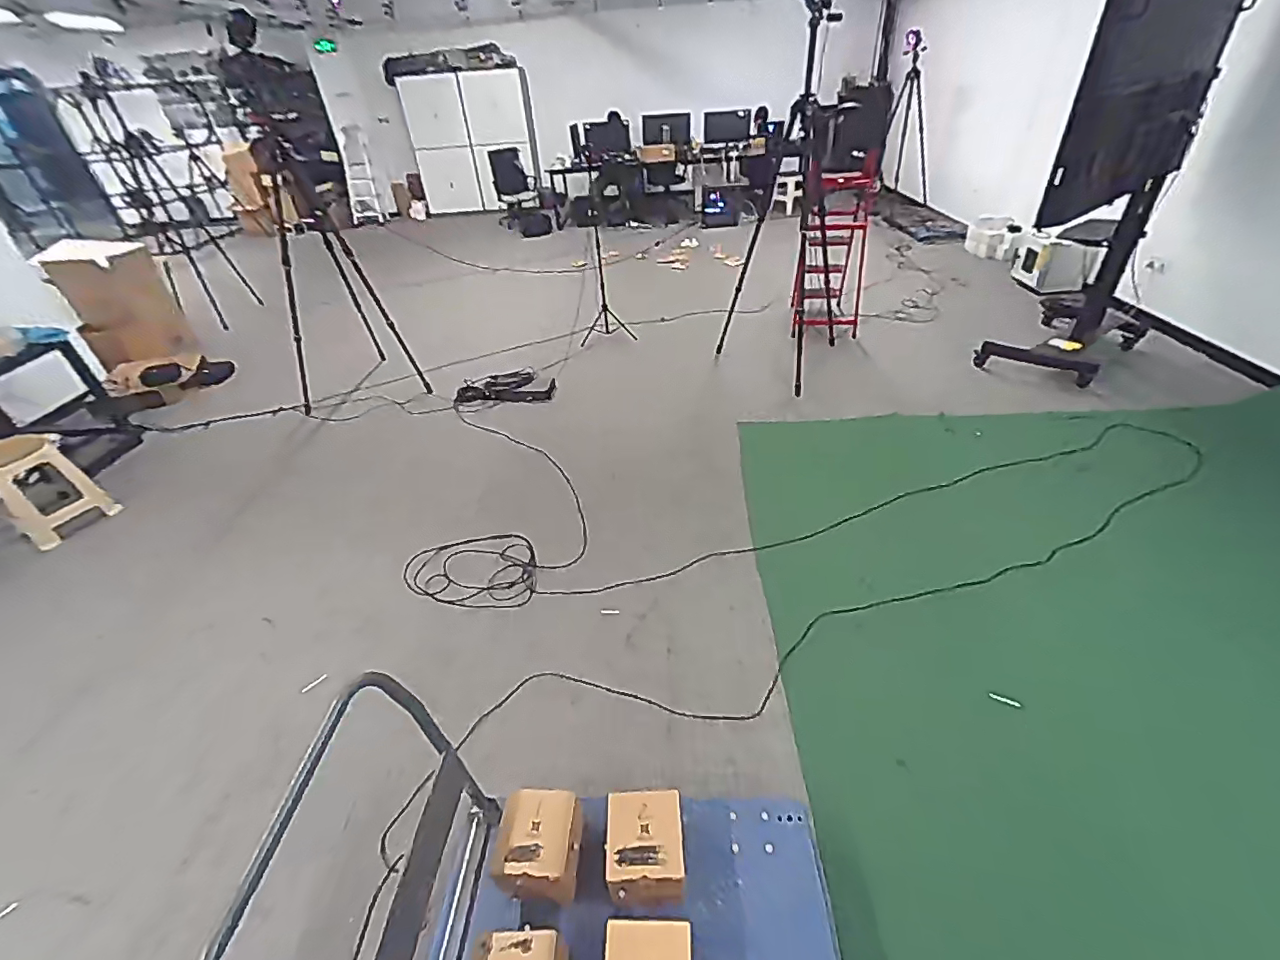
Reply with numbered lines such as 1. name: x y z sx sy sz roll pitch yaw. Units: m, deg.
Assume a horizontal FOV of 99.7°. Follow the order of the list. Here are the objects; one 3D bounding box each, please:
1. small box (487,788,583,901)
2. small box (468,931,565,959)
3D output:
1. small box: -0.233 0.845 1.252 0.168 0.176 0.179 0 37 6
2. small box: -0.242 1.004 1.042 0.168 0.176 0.179 -3 37 2
